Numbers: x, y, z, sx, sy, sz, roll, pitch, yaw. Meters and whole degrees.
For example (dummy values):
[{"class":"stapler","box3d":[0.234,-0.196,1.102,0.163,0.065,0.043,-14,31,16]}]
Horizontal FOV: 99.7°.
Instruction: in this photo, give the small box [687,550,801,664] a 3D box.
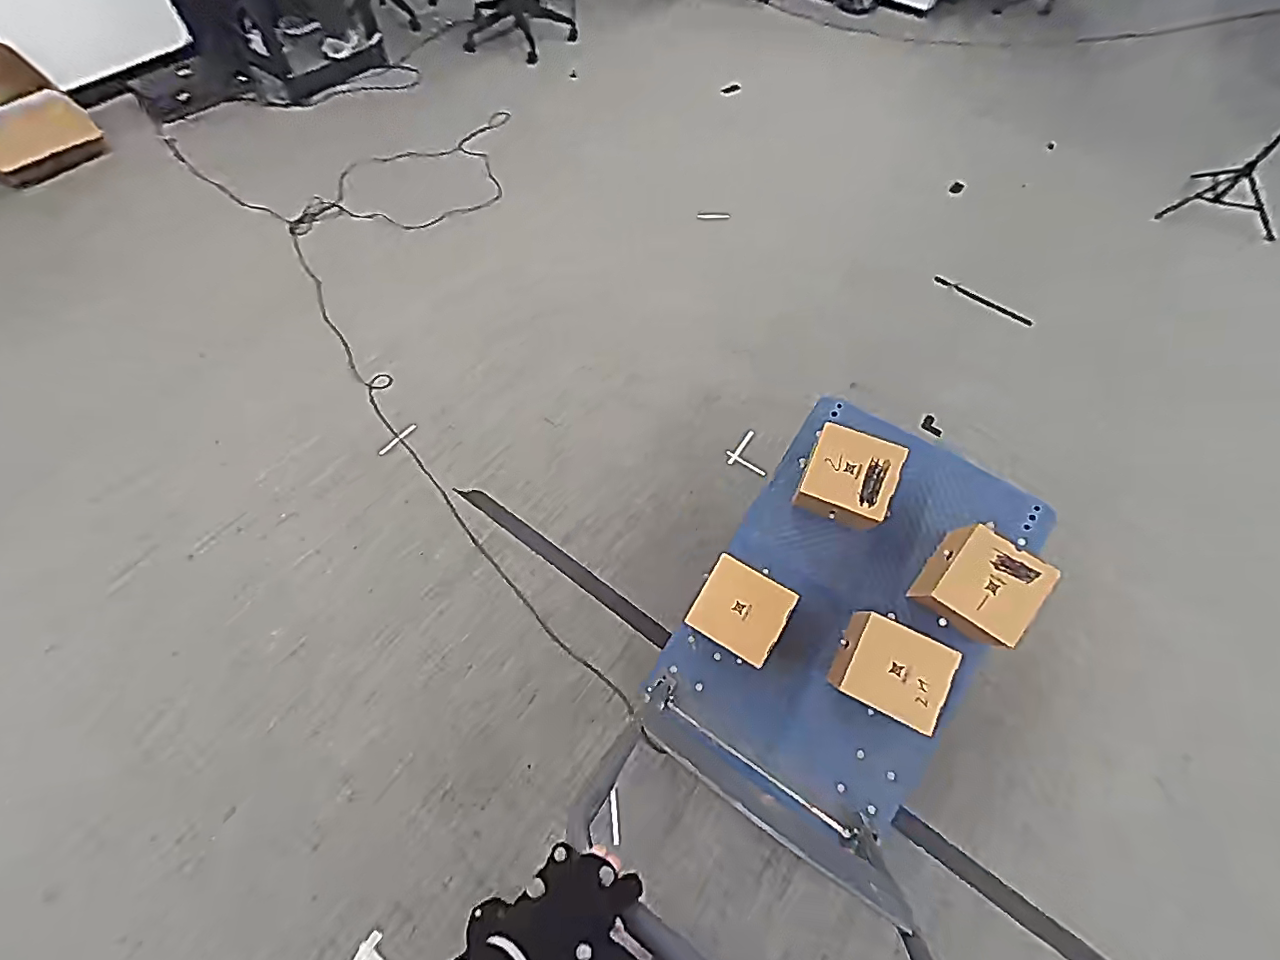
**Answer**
[{"class":"small box","box3d":[0.219,0.272,1.166,0.179,0.176,0.168,30,84,14]}]

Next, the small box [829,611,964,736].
[{"class":"small box","box3d":[0.503,0.380,1.089,0.179,0.176,0.168,26,83,15]}]

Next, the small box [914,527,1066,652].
[{"class":"small box","box3d":[0.690,0.219,1.093,0.168,0.176,0.179,37,87,16]}]
